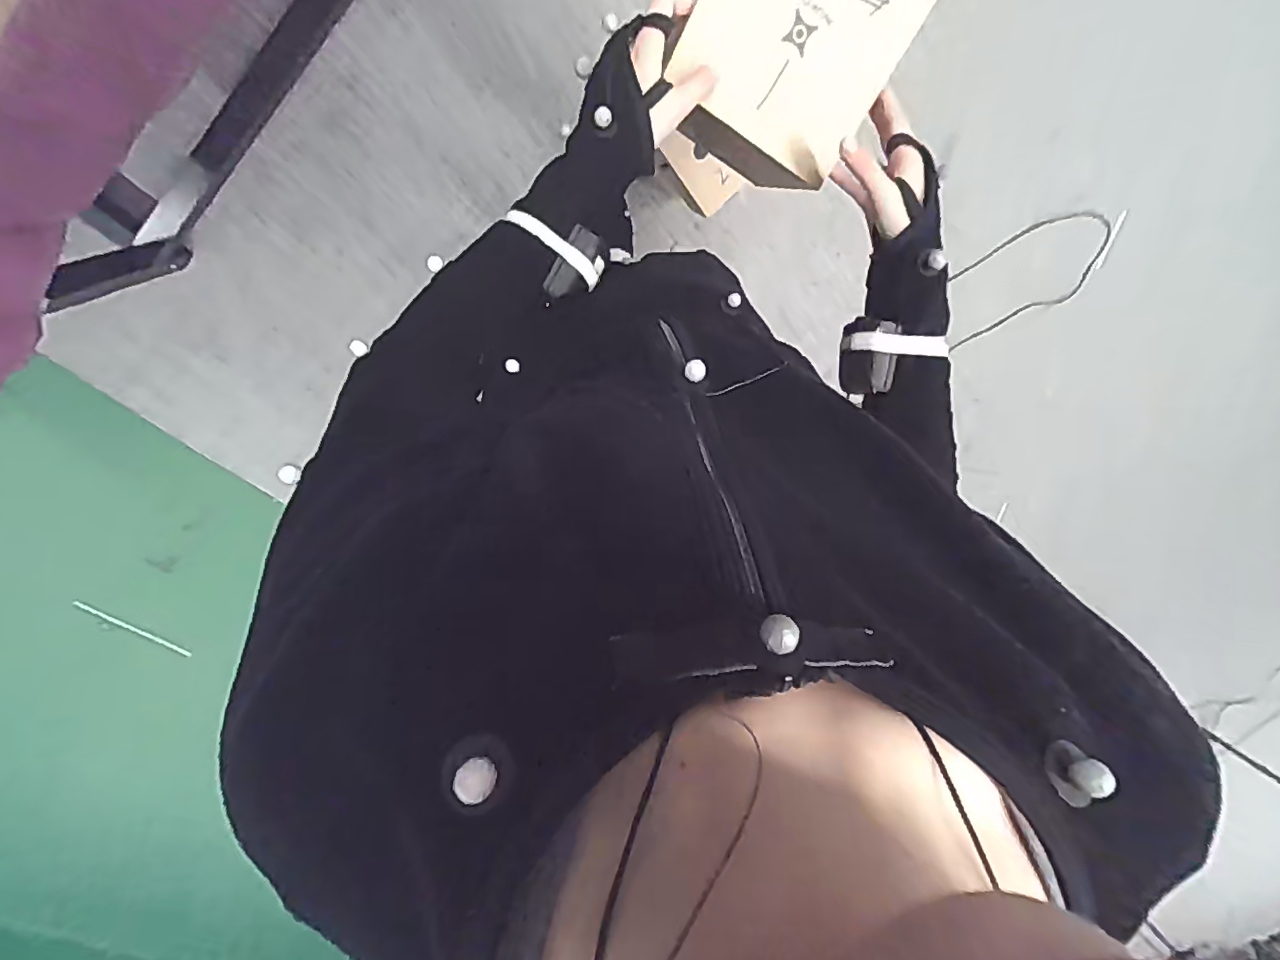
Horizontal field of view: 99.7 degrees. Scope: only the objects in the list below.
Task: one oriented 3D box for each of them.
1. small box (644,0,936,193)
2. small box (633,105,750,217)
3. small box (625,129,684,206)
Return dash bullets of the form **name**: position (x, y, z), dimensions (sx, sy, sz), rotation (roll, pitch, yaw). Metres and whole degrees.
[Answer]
- **small box**: position (0.116, -0.390, 0.485), dimensions (0.168, 0.176, 0.179), rotation (22, 115, -20)
- **small box**: position (0.104, -0.549, 0.855), dimensions (0.168, 0.176, 0.179), rotation (-37, 118, 16)
- **small box**: position (0.082, -0.713, 1.140), dimensions (0.168, 0.176, 0.179), rotation (38, 111, -25)
